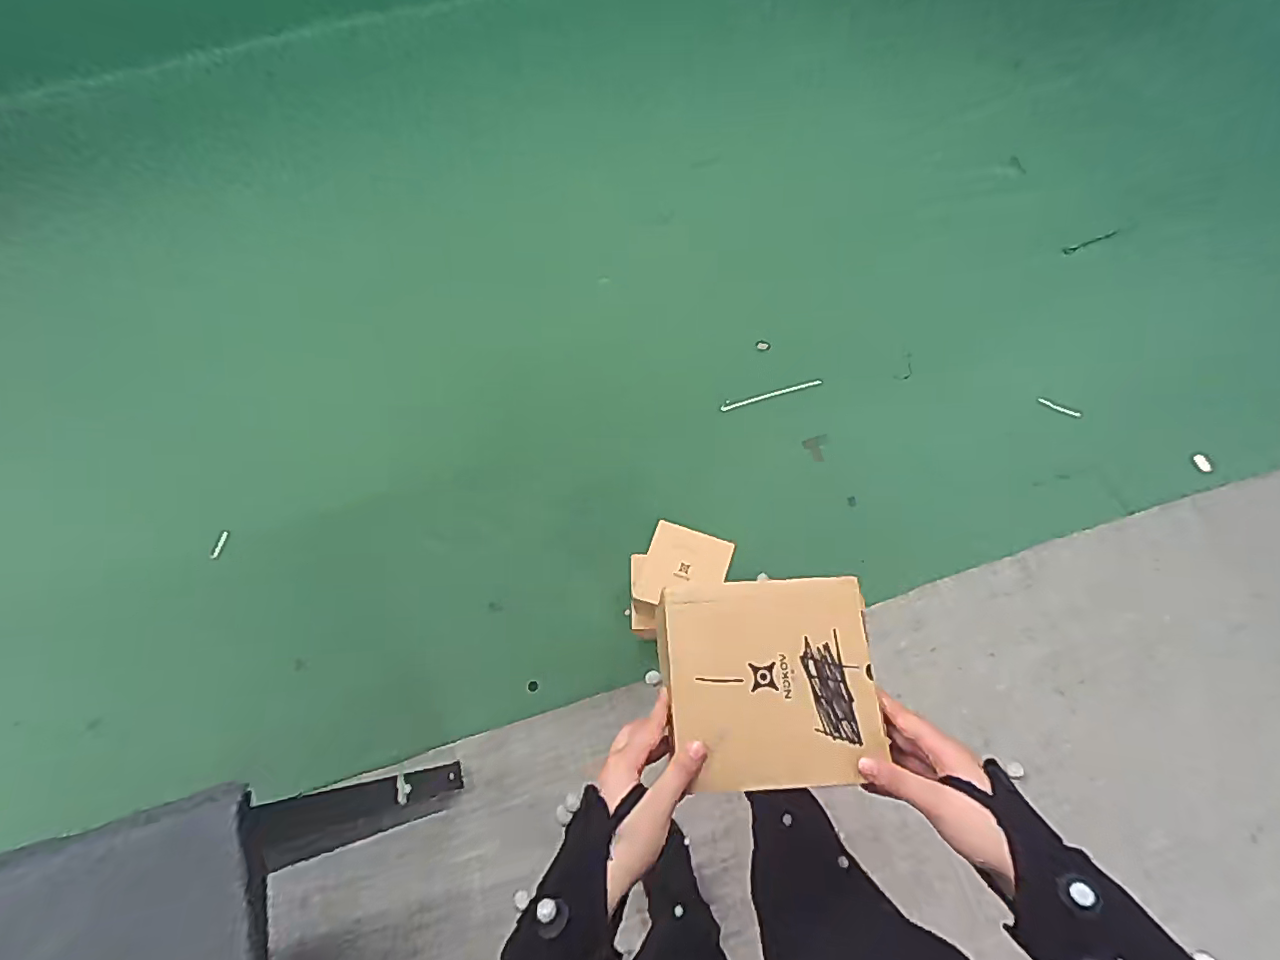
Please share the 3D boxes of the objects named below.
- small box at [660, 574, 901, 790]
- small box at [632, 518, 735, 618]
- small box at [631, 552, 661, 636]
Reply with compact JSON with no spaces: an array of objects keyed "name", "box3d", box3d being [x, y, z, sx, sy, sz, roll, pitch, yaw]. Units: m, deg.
[{"name":"small box","box3d":[0.115,0.188,0.524,0.179,0.176,0.168,-3,70,-2]},{"name":"small box","box3d":[0.092,0.209,1.148,0.168,0.176,0.179,18,68,8]},{"name":"small box","box3d":[0.065,0.278,1.296,0.168,0.176,0.179,-1,66,1]}]
